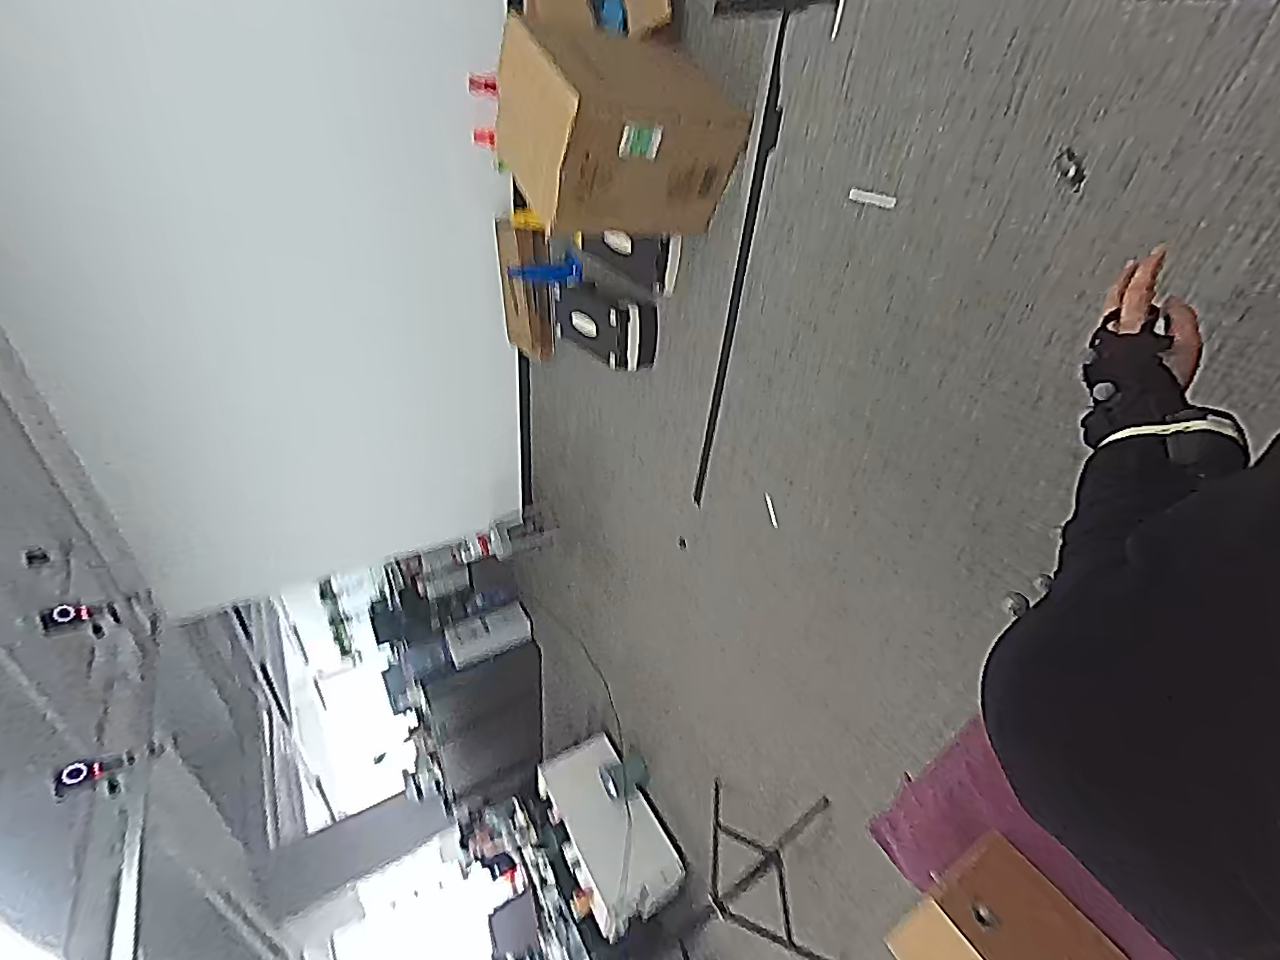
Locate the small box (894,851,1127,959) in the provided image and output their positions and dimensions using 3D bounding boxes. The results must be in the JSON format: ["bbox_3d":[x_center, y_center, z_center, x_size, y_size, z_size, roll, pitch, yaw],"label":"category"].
[{"bbox_3d":[0.484,0.632,0.710,0.179,0.176,0.168,44,138,42],"label":"small box"}]
